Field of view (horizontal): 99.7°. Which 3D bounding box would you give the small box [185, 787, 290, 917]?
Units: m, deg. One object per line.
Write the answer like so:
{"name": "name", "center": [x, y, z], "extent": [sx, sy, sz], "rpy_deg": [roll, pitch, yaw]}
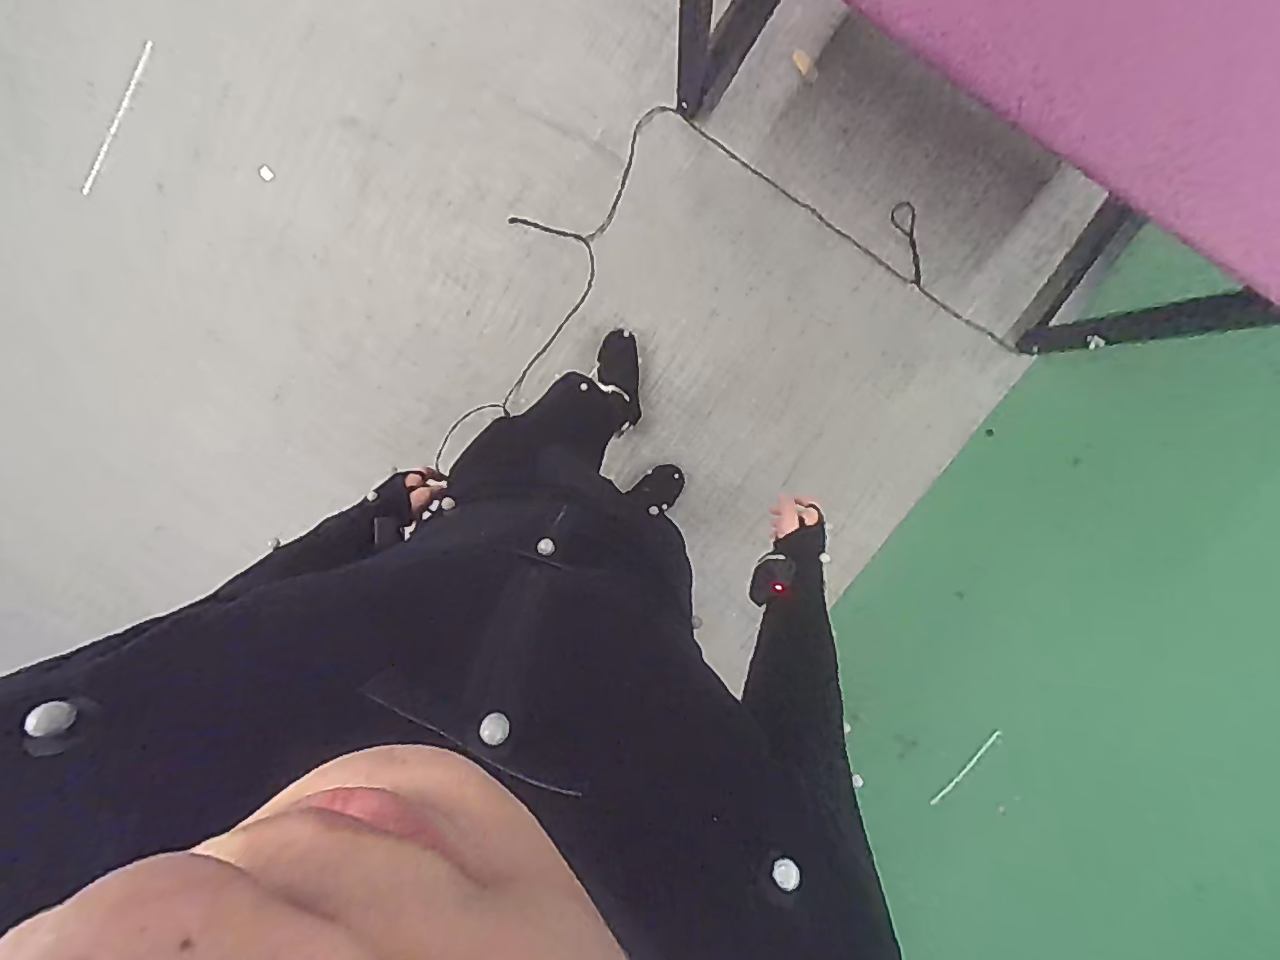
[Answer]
{"name": "small box", "center": [-0.984, 0.883, 1.279], "extent": [0.168, 0.176, 0.179], "rpy_deg": [42, 97, -3]}

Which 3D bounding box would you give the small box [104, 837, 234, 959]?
{"name": "small box", "center": [-0.993, 0.895, 1.115], "extent": [0.168, 0.176, 0.179], "rpy_deg": [37, 98, -2]}
